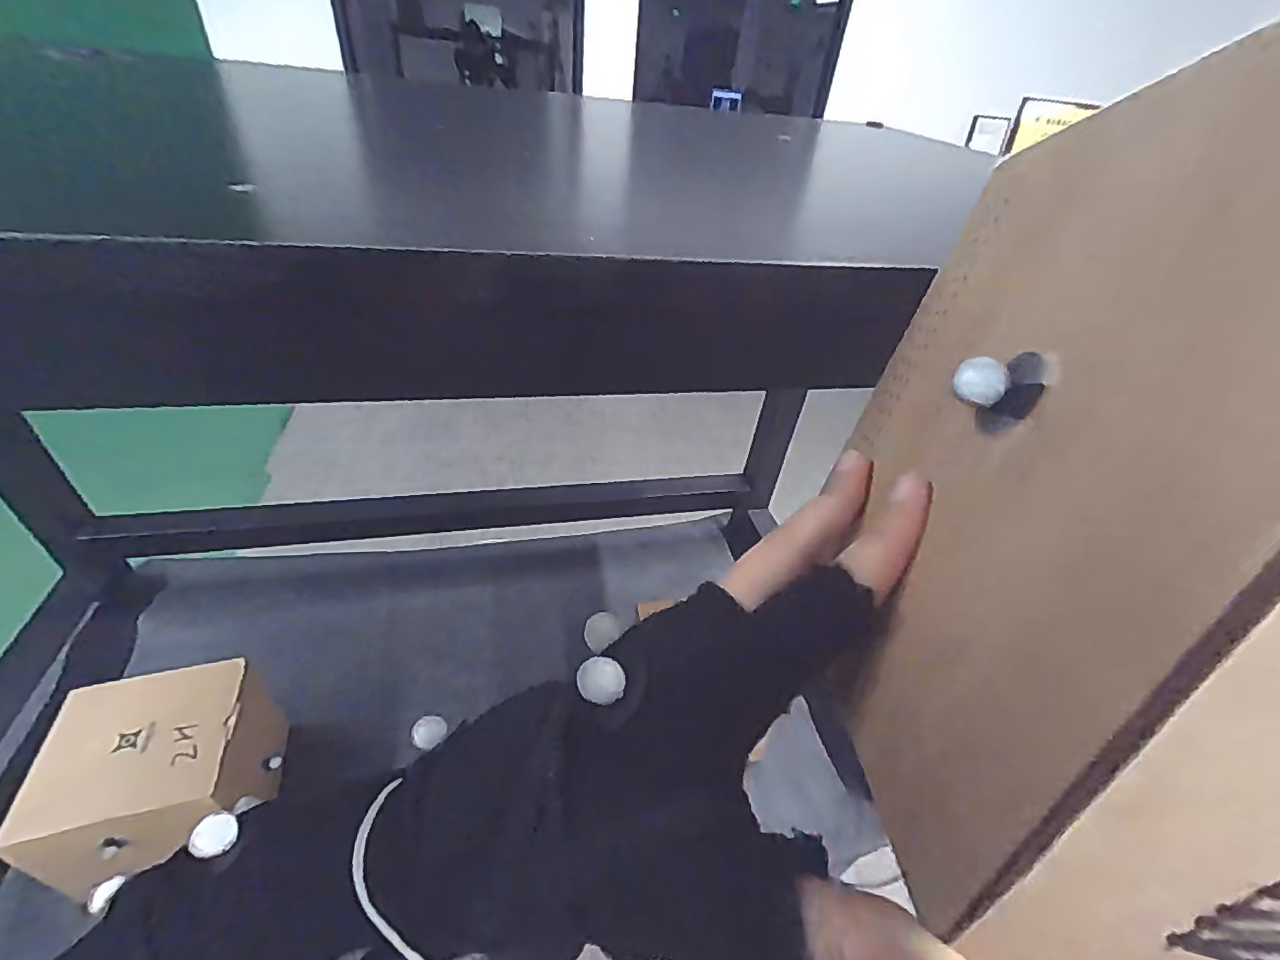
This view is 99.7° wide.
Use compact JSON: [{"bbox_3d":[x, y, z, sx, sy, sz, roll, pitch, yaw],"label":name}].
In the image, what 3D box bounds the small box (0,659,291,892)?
[{"bbox_3d":[-0.542,0.342,0.631,0.179,0.176,0.168,-6,41,-17],"label":"small box"}]
